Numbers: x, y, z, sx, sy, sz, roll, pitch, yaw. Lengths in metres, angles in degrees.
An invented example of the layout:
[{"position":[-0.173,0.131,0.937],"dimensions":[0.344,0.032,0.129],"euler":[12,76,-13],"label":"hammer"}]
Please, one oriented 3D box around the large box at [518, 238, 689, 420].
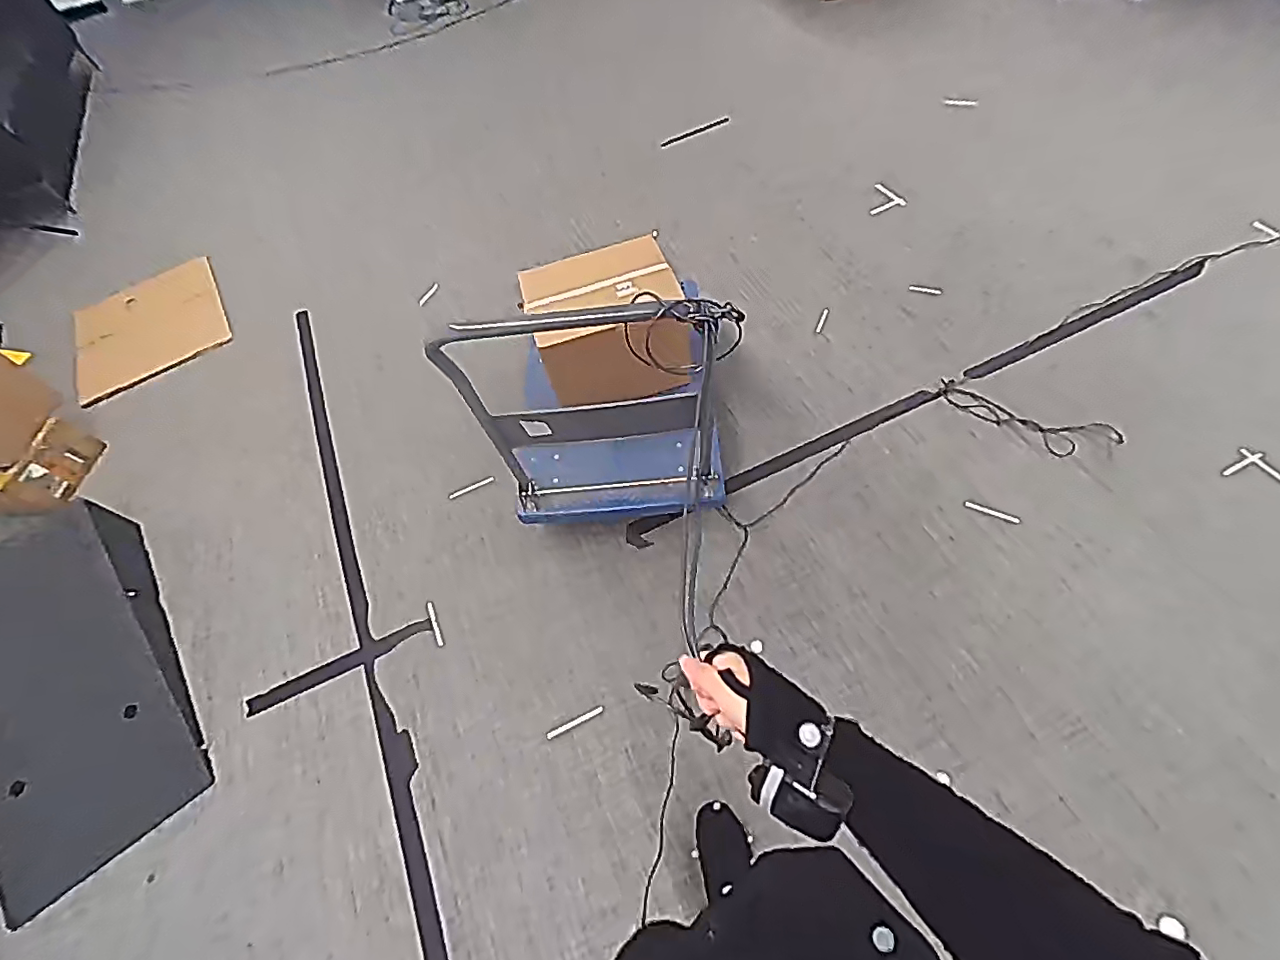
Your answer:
[{"position":[-0.096,-0.427,1.566],"dimensions":[0.408,0.320,0.320],"euler":[-17,60,-4],"label":"large box"}]
